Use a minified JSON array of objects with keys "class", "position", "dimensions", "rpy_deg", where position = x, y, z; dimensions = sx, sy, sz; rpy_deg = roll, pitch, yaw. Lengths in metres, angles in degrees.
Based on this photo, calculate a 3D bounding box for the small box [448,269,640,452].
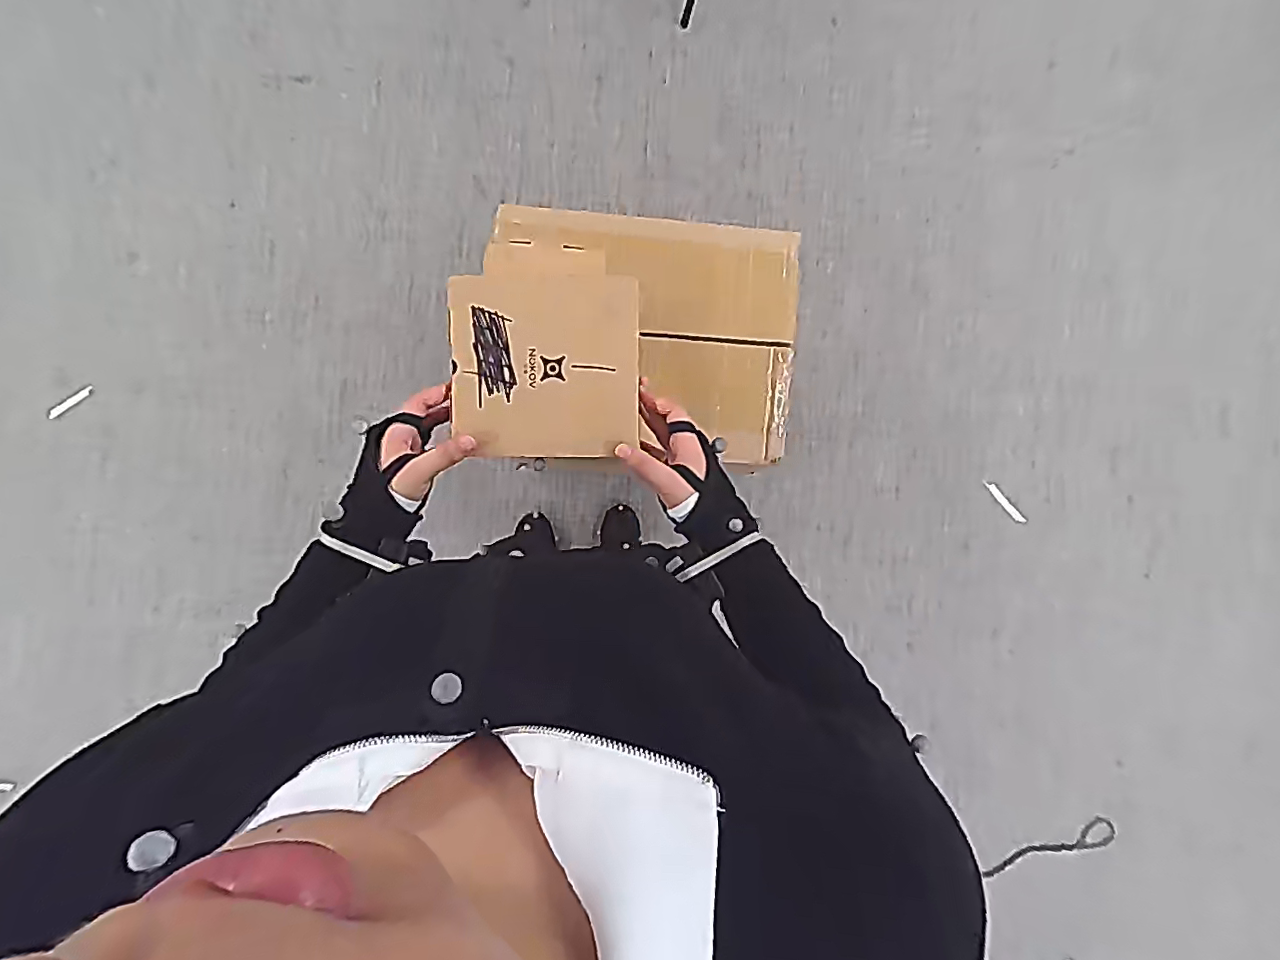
[{"class":"small box","position":[-0.089,-0.114,0.576],"dimensions":[0.179,0.176,0.168],"rpy_deg":[0,93,-1]}]

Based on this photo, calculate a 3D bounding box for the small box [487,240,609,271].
[{"class":"small box","position":[-0.135,-0.234,0.817],"dimensions":[0.168,0.176,0.179],"rpy_deg":[4,89,-1]}]
